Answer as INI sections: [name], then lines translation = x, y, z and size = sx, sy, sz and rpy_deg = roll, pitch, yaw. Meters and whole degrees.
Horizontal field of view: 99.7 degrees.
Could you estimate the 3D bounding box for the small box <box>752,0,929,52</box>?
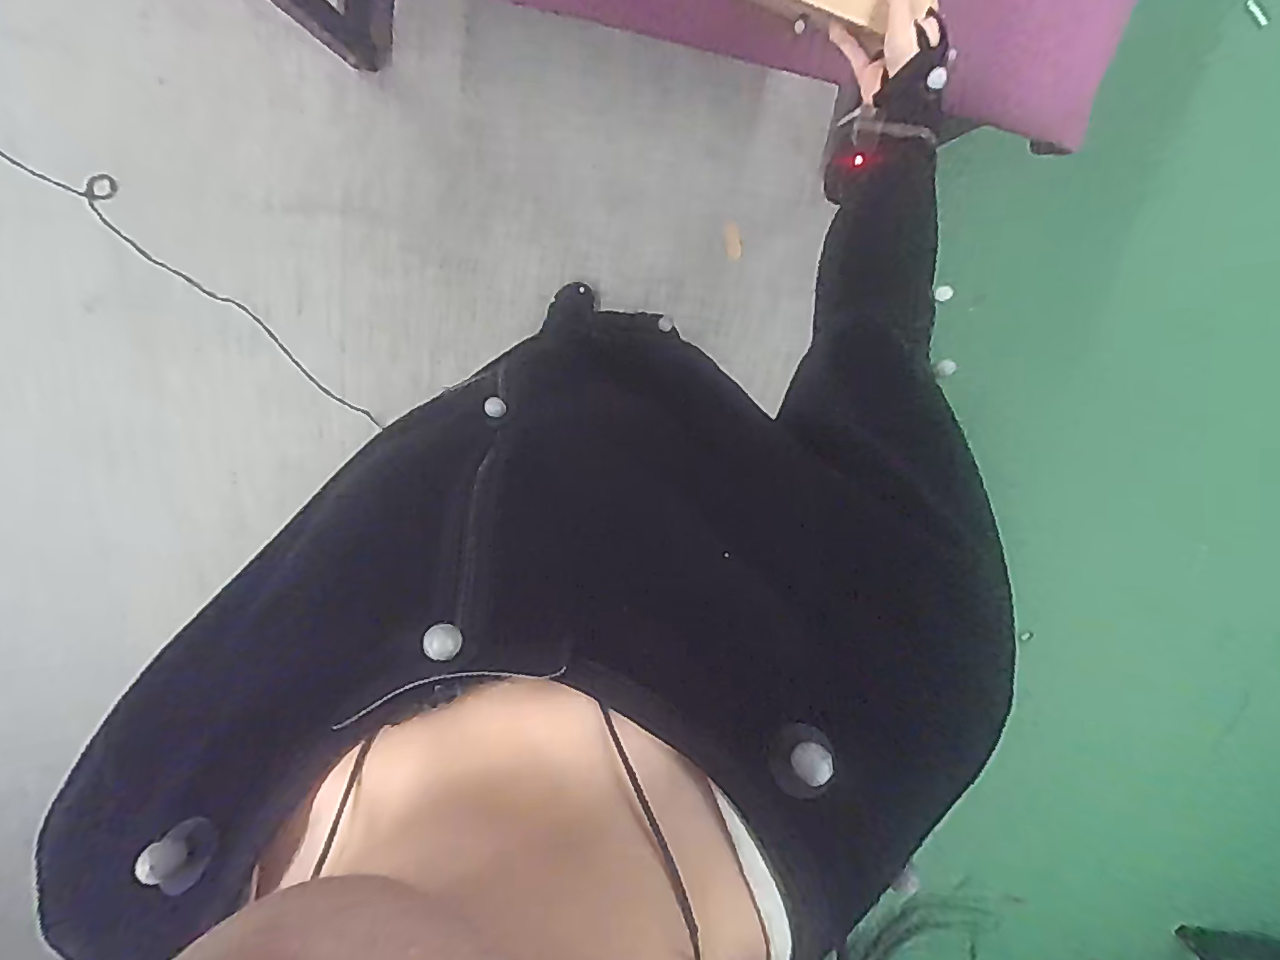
[small box]
translation = 0.196, -0.526, 0.492
size = 0.168, 0.176, 0.179
rpy_deg = 15, 128, -9
